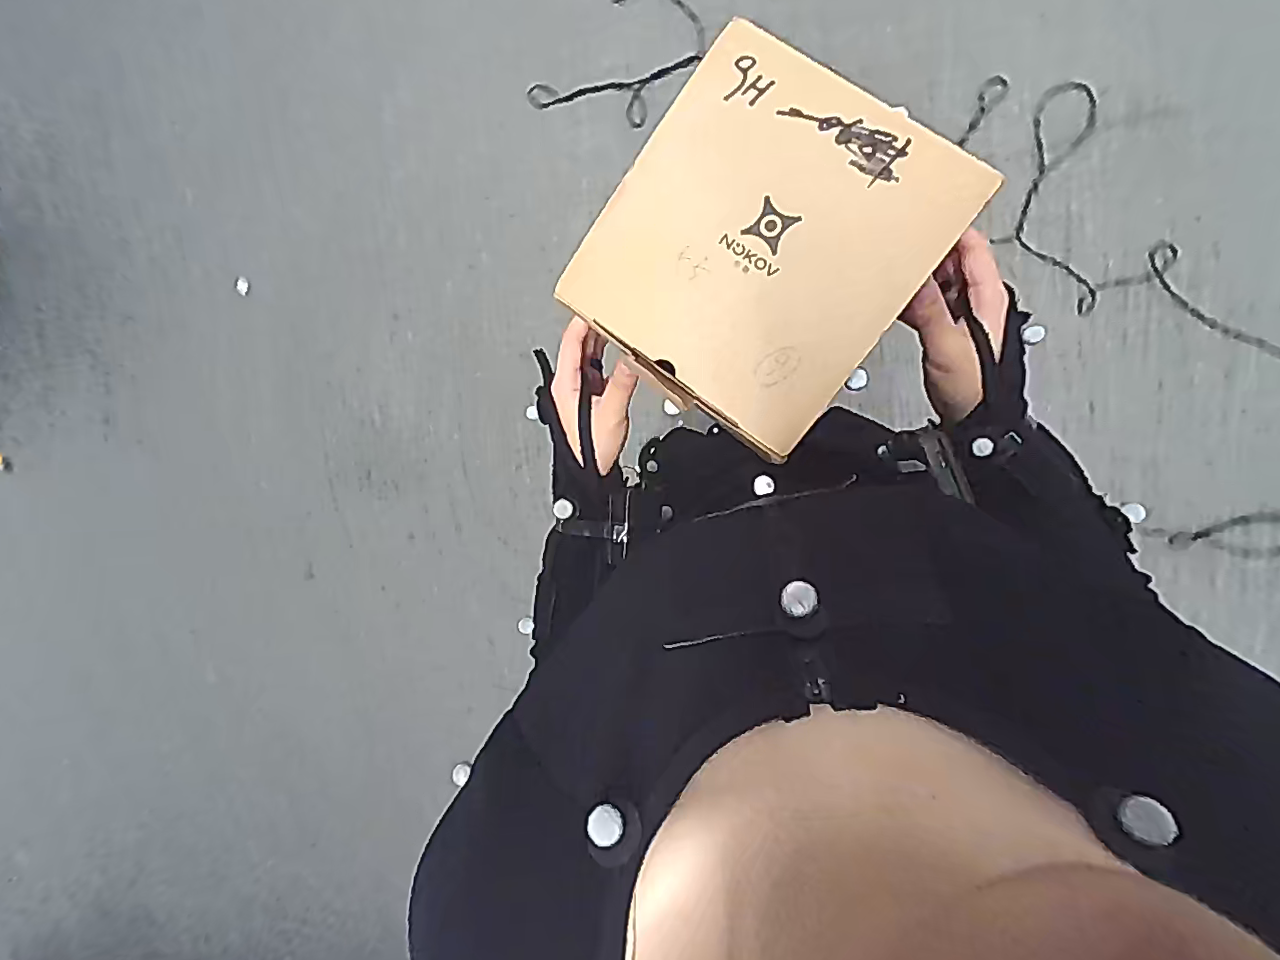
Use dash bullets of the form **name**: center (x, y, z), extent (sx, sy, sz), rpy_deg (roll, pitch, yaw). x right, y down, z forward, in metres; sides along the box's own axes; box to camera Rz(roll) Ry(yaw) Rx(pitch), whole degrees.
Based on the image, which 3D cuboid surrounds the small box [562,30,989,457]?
- **small box**: center (0.083, -0.132, 0.374), extent (0.168, 0.176, 0.179), rpy_deg (39, 100, 8)
